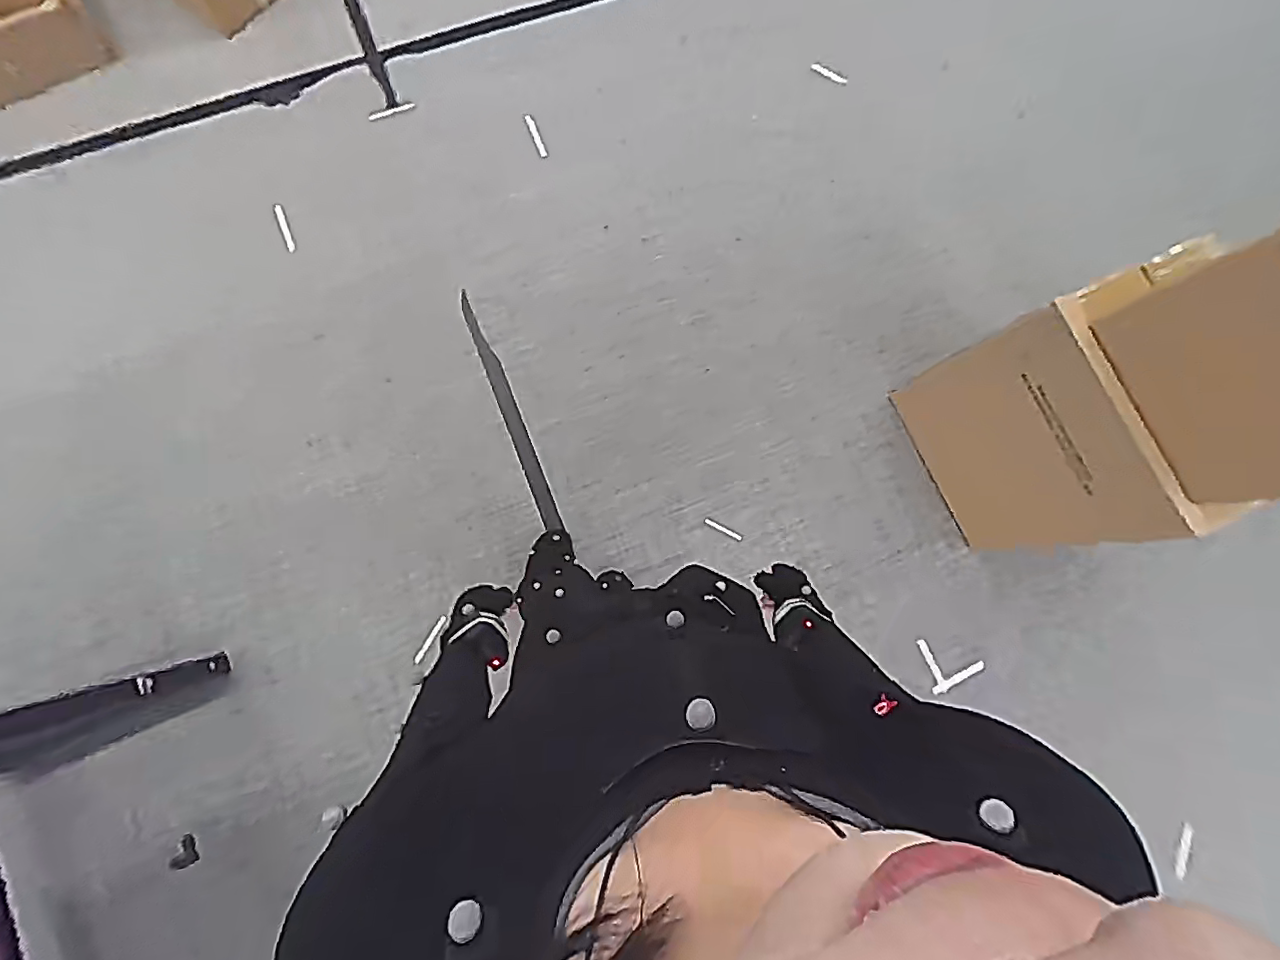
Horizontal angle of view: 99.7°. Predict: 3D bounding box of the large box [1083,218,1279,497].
[{"bbox_3d":[1.100,-0.225,0.925,0.320,0.320,0.408,-25,85,-7],"label":"large box"}]
